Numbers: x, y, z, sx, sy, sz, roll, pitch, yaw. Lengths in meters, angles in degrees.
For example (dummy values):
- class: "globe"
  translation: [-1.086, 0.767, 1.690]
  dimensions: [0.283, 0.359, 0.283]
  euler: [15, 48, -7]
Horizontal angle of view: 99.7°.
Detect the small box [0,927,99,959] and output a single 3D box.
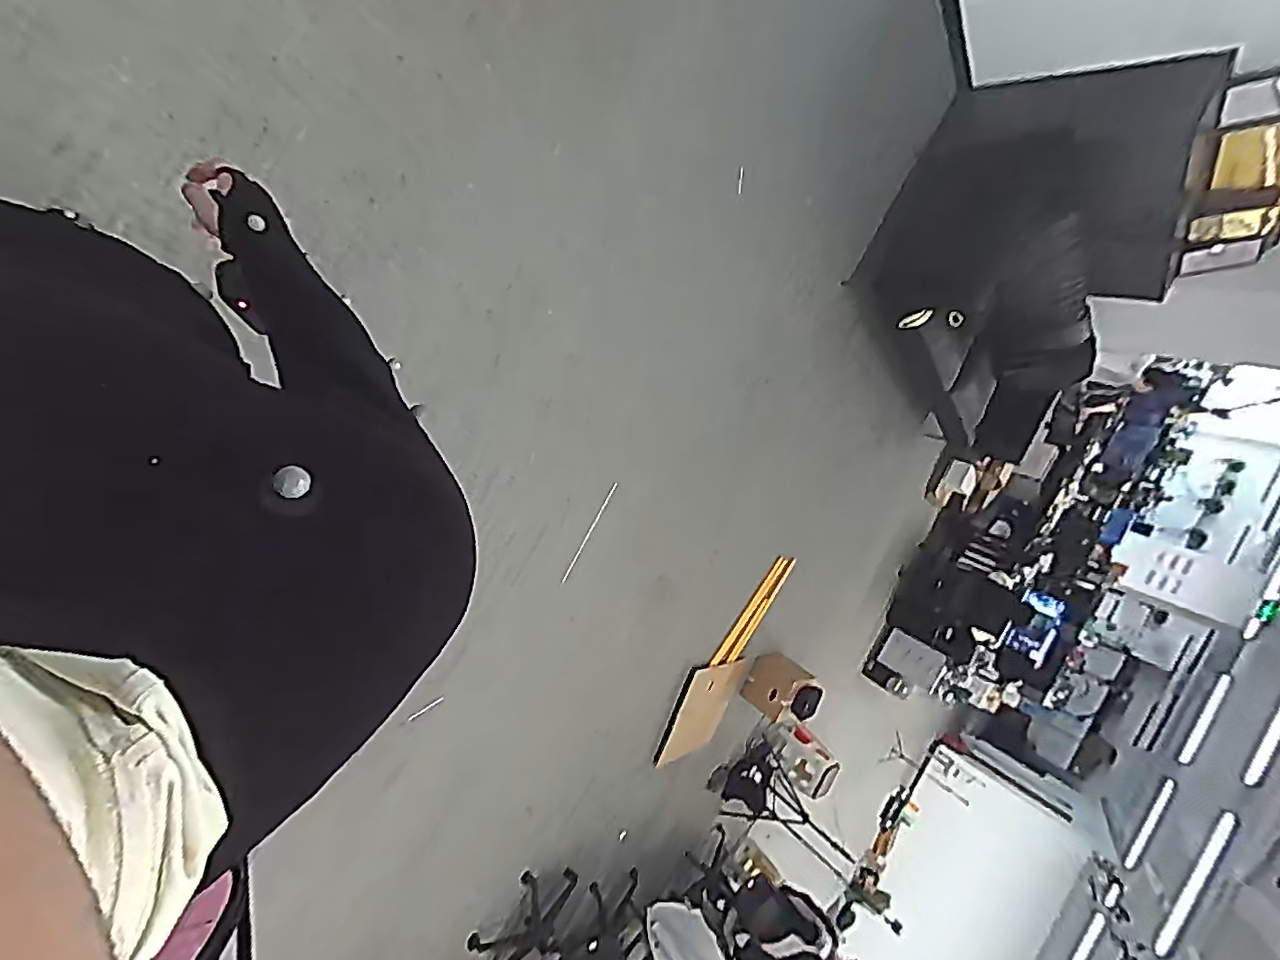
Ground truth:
- class: "small box"
  translation: [-0.888, 0.783, 0.745]
  dimensions: [0.168, 0.176, 0.179]
  euler: [30, 89, -49]
